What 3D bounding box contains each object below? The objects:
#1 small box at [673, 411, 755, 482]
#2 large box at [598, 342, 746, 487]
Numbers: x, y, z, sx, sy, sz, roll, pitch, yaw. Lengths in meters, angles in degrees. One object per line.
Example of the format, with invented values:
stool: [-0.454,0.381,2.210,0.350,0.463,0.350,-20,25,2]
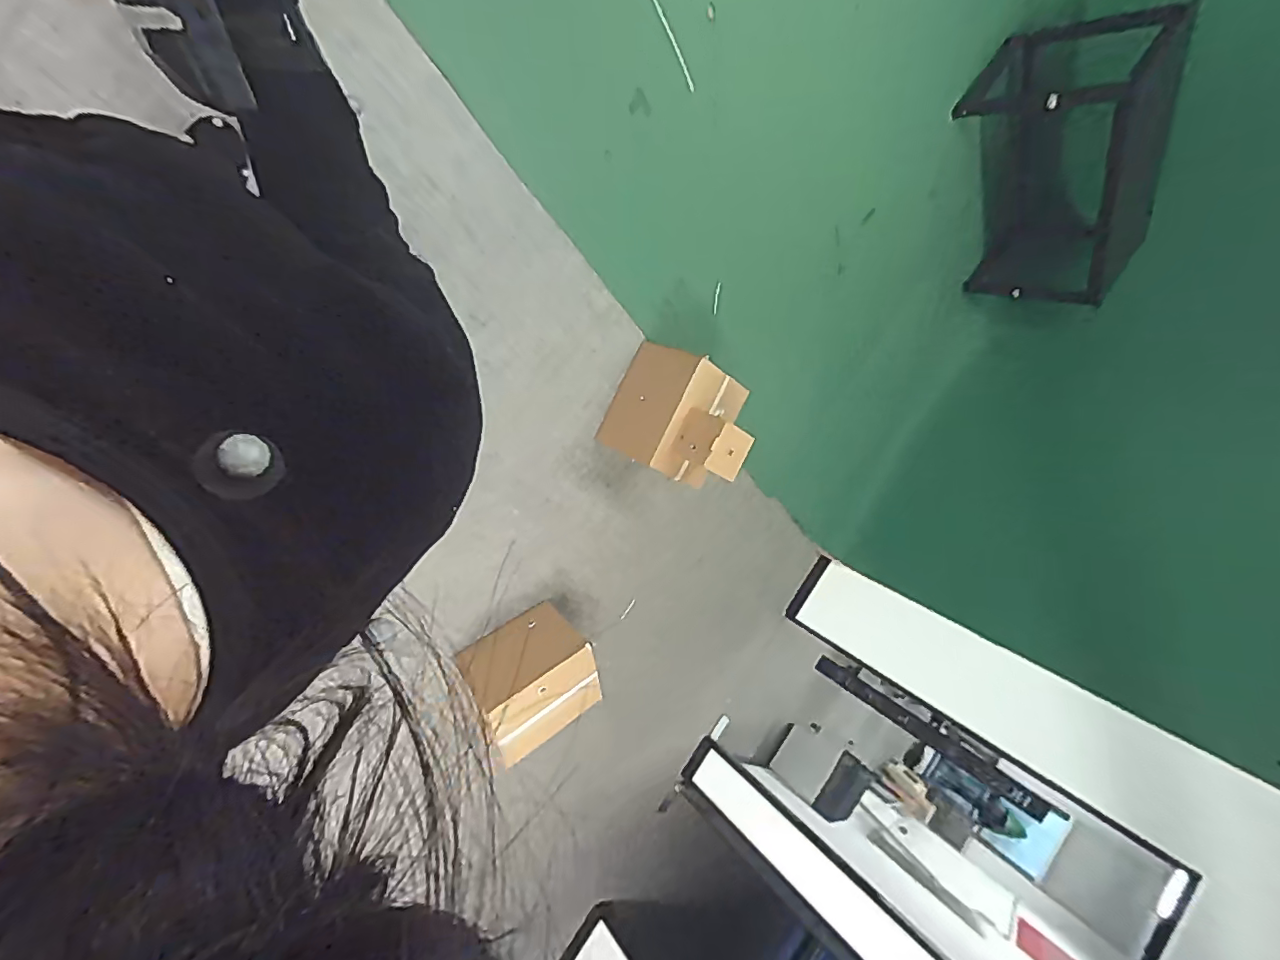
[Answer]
small box: [0.240,-0.116,1.791,0.179,0.176,0.168,23,94,-46]
large box: [0.111,-0.237,1.967,0.320,0.320,0.408,22,94,-47]
